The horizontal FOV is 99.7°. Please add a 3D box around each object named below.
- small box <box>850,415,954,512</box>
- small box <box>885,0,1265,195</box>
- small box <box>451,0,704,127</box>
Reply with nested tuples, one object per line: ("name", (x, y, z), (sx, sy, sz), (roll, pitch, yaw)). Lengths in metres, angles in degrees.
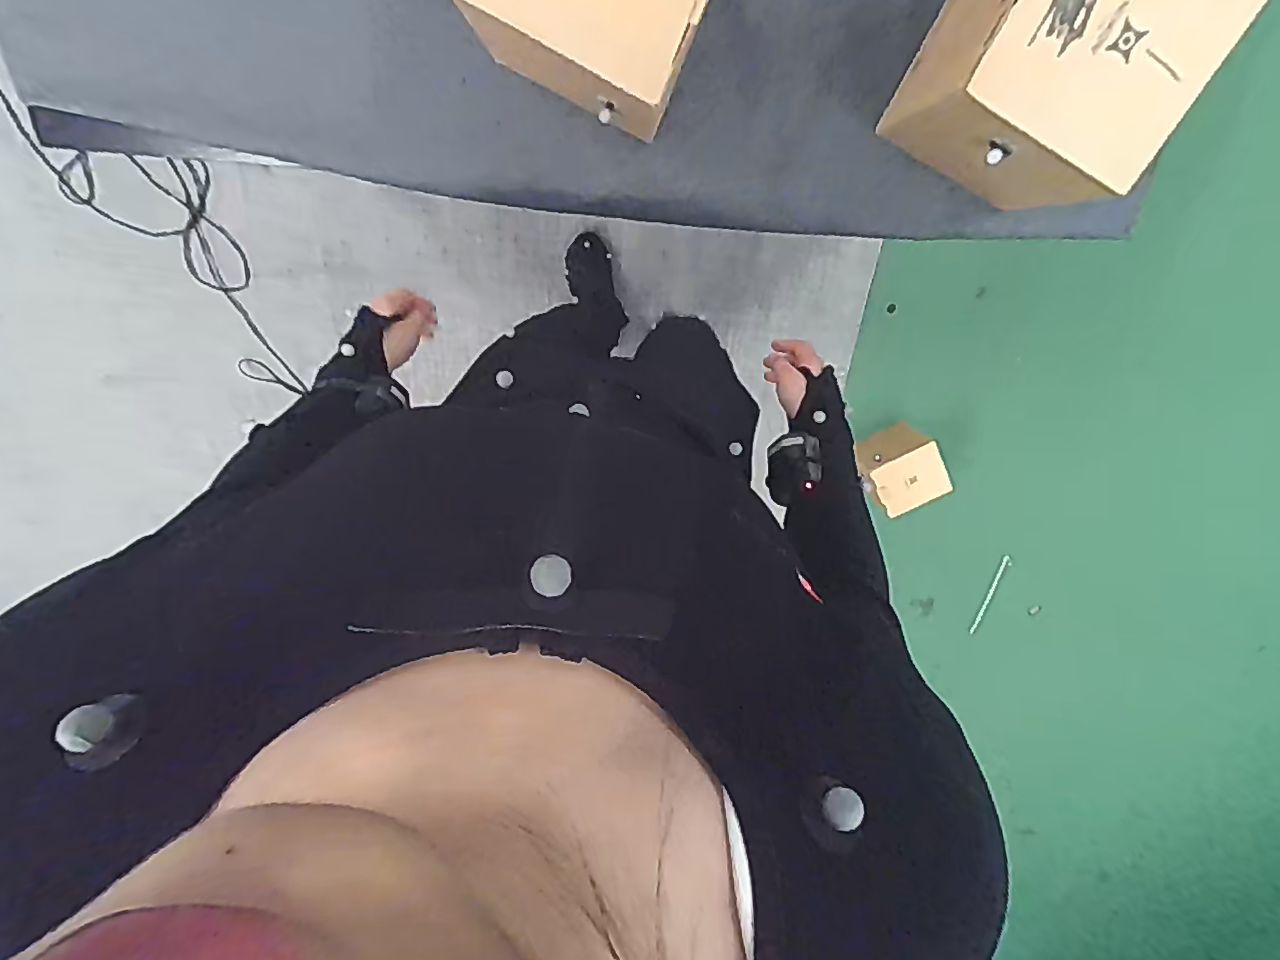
("small box", (0.705, -0.052, 1.468), (0.179, 0.176, 0.168), (-28, 114, 14))
("small box", (0.358, -0.372, 0.477), (0.179, 0.176, 0.168), (23, 112, -11))
("small box", (-0.034, -0.426, 0.452), (0.179, 0.176, 0.168), (22, 112, -10))
